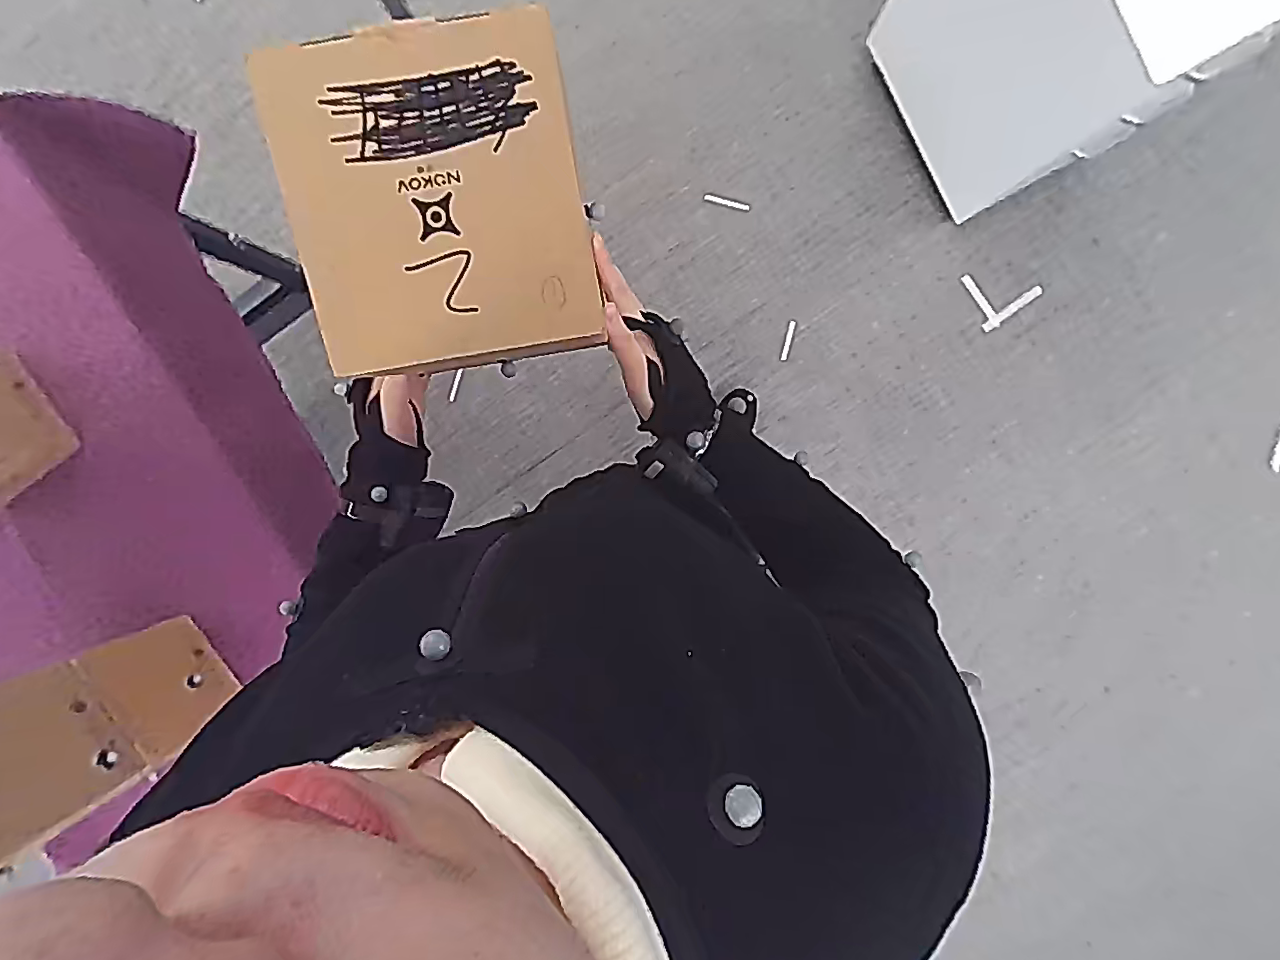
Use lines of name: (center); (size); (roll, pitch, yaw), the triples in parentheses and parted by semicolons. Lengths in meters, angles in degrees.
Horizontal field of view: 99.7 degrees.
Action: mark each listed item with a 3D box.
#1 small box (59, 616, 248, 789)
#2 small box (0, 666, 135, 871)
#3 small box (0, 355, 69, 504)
small box: (-0.706, 0.319, 0.747); (0.179, 0.176, 0.168); (-35, 93, 5)
small box: (-0.714, 0.336, 0.584); (0.179, 0.176, 0.168); (-36, 92, 5)
small box: (-0.937, -0.065, 0.720); (0.179, 0.176, 0.168); (-34, 93, 6)
